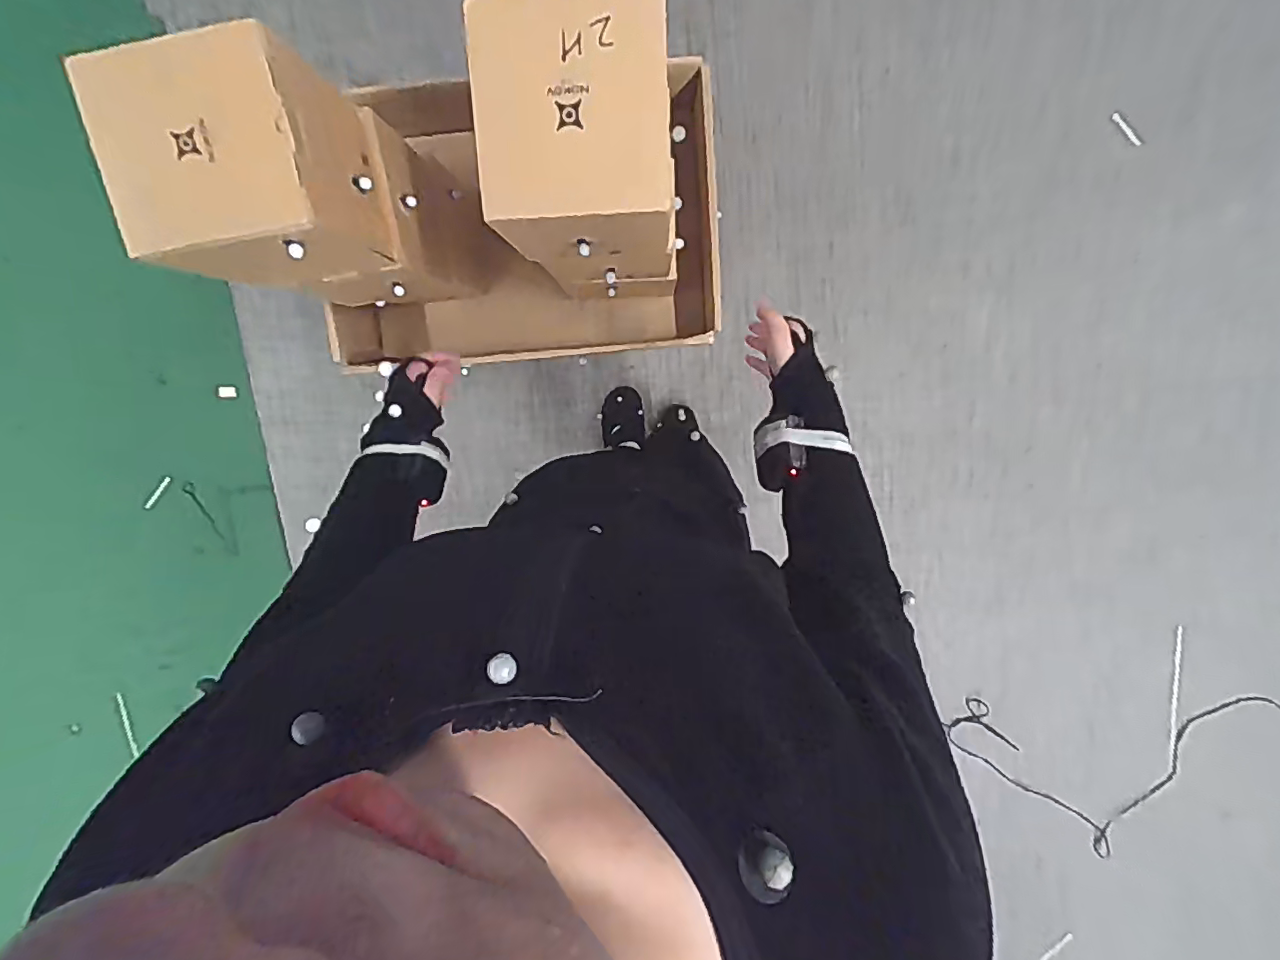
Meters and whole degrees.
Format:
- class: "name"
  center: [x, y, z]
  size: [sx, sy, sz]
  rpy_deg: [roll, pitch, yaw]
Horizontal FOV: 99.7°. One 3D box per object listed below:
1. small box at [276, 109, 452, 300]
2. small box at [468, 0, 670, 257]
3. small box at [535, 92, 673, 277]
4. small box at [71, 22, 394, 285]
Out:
- class: "small box"
  center: [-0.365, -0.339, 0.706]
  size: [0.168, 0.176, 0.179]
  rpy_deg: [-8, 101, 3]
- class: "small box"
  center: [-0.054, -0.324, 0.529]
  size: [0.168, 0.176, 0.179]
  rpy_deg: [-2, 101, 2]
- class: "small box"
  center: [-0.041, -0.360, 0.690]
  size: [0.168, 0.176, 0.179]
  rpy_deg: [-2, 102, 2]
- class: "small box"
  center: [-0.385, -0.305, 0.547]
  size: [0.179, 0.176, 0.168]
  rpy_deg: [-10, 101, 2]
